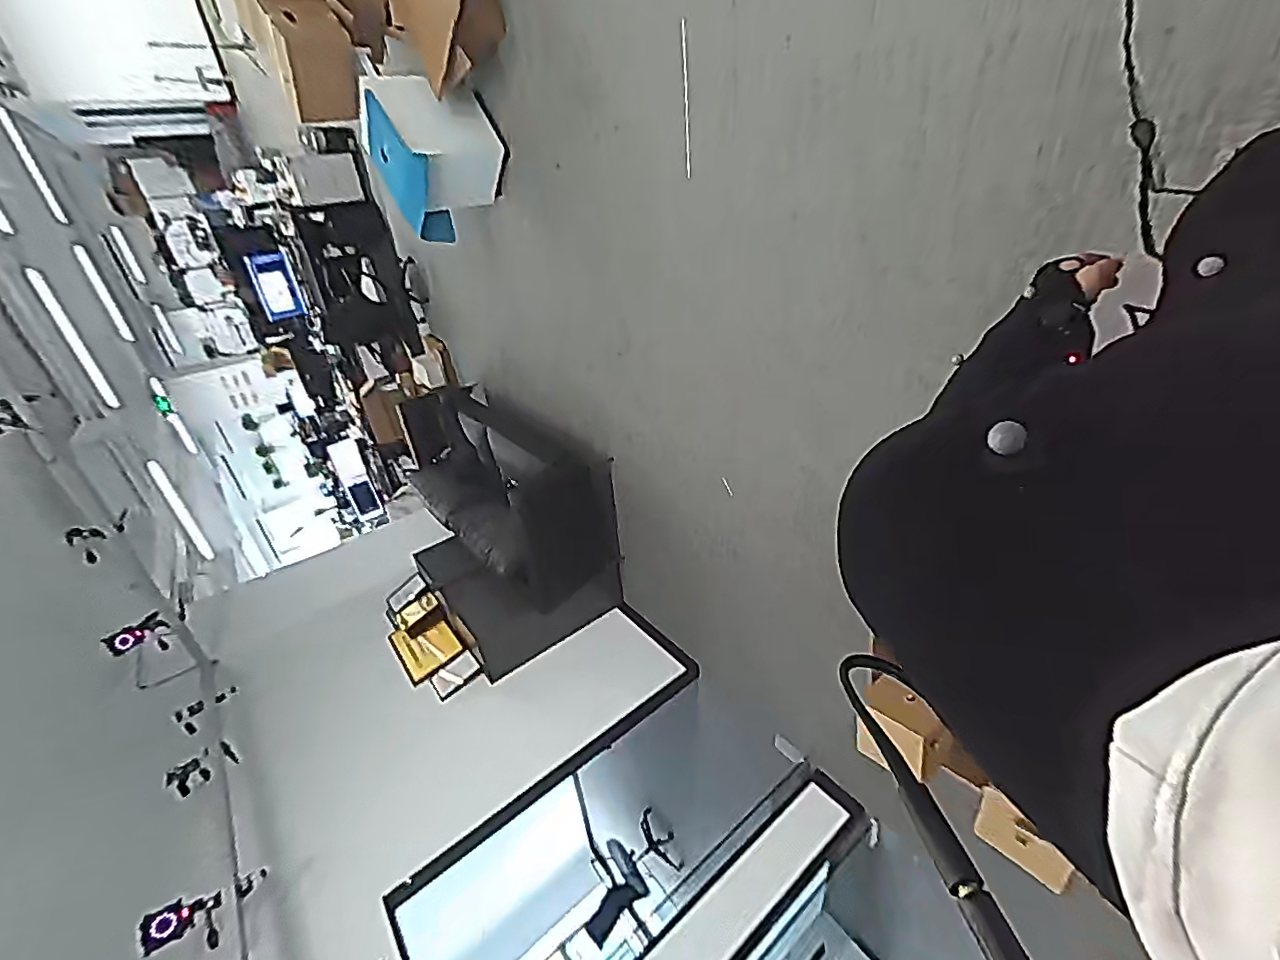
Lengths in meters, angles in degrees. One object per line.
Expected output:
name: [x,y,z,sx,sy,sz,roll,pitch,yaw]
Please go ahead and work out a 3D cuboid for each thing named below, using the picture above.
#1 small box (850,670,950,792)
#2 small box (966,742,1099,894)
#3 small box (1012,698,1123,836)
small box: [0.641,0.608,1.334,0.168,0.176,0.179,21,128,50]
small box: [0.820,0.695,1.132,0.168,0.176,0.179,27,134,45]
small box: [0.948,0.634,1.215,0.168,0.176,0.179,22,130,47]
